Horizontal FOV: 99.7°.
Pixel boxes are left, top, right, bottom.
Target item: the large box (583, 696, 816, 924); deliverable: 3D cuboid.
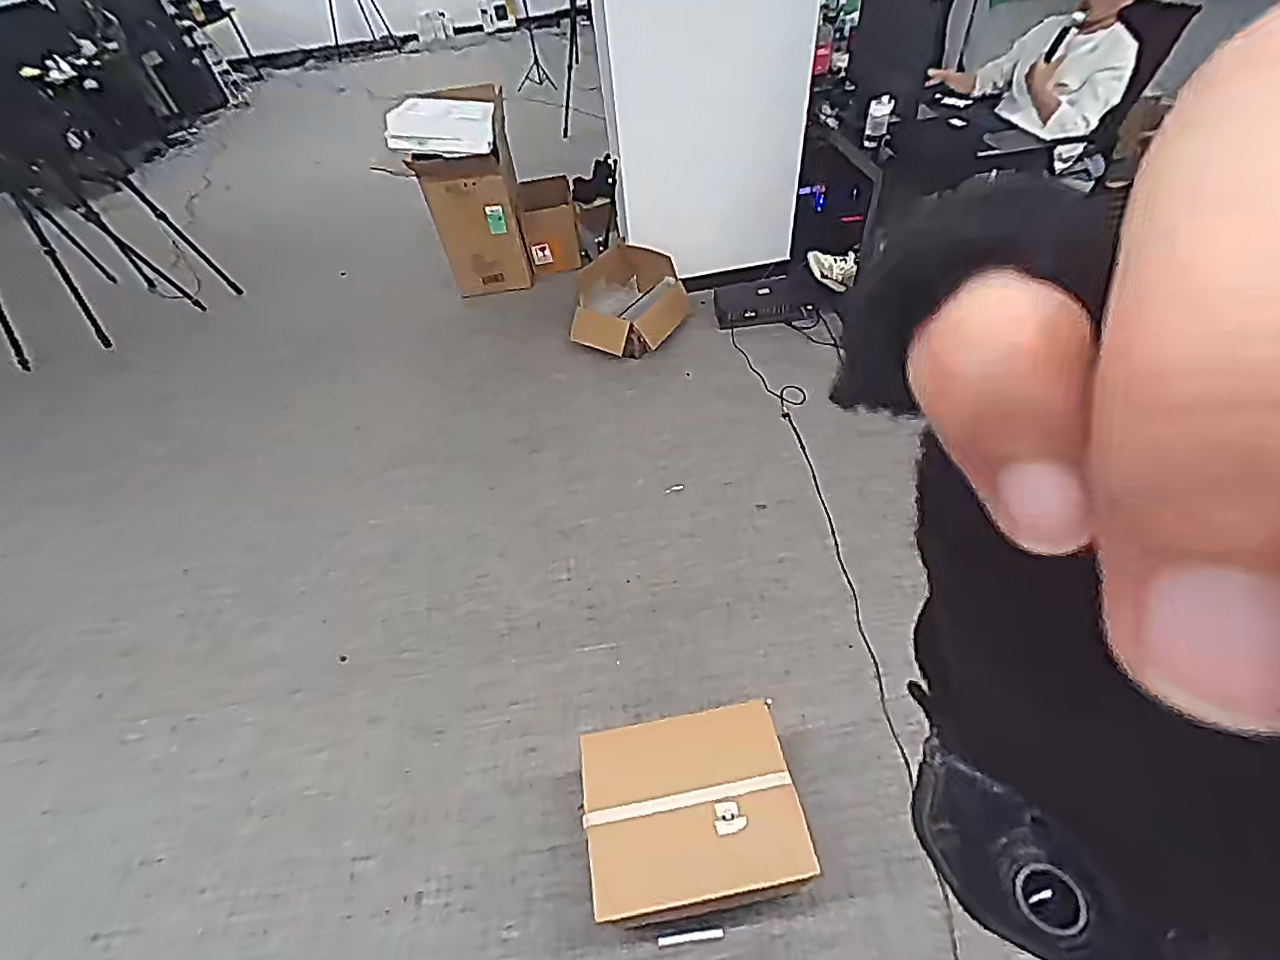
[{"bbox_3d":[0.110,0.716,1.169,0.408,0.320,0.320,-10,49,-3],"label":"large box"}]
